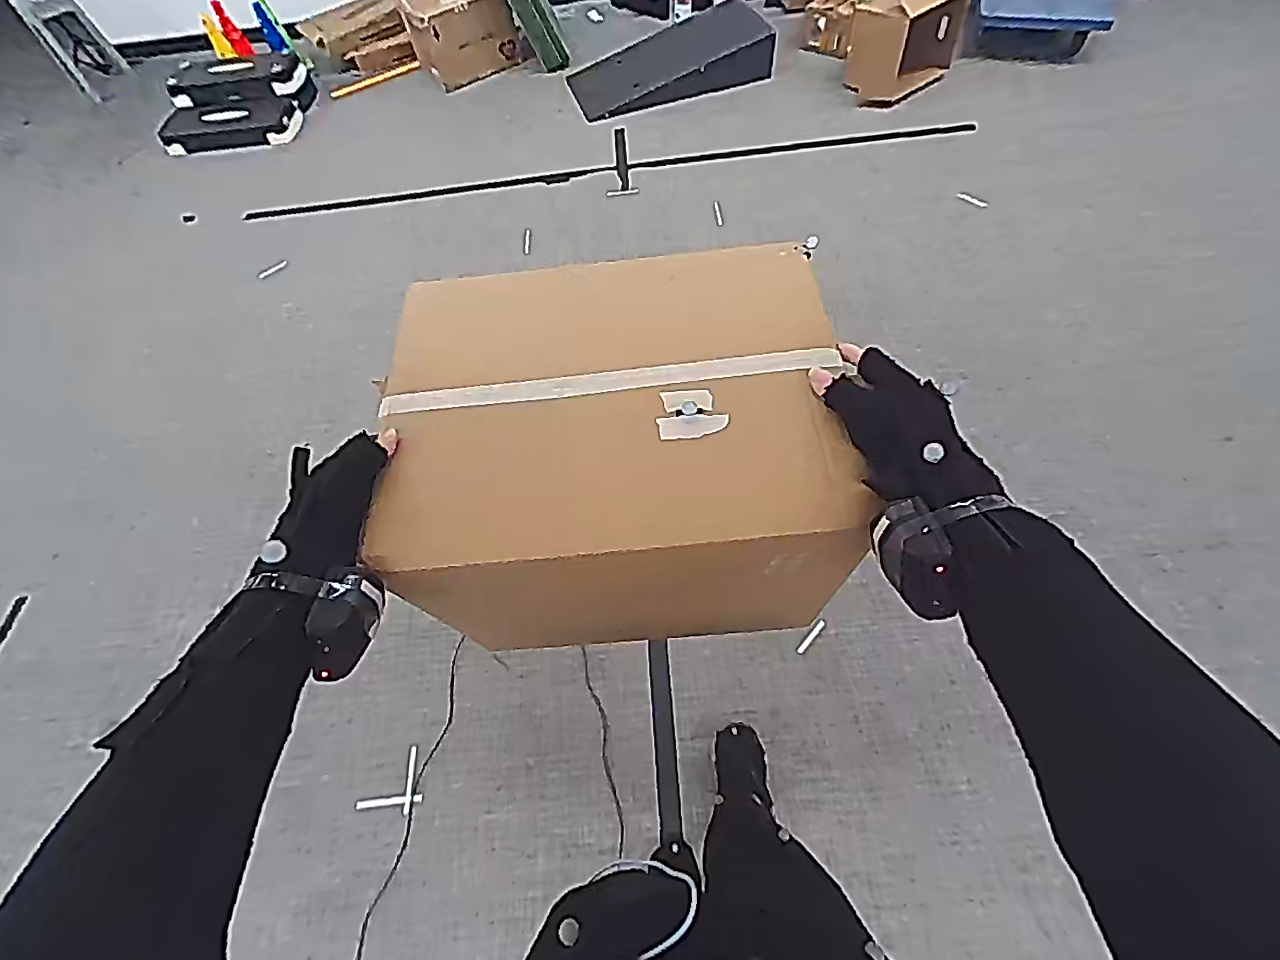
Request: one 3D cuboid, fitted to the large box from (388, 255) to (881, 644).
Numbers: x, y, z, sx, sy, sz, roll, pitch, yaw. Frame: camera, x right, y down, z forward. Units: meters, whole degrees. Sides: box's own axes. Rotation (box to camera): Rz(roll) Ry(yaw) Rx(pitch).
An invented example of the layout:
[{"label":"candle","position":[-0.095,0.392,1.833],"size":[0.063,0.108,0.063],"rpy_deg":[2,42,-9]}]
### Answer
[{"label":"large box","position":[-0.009,-0.013,0.627],"size":[0.408,0.320,0.320],"rpy_deg":[-5,62,1]}]
